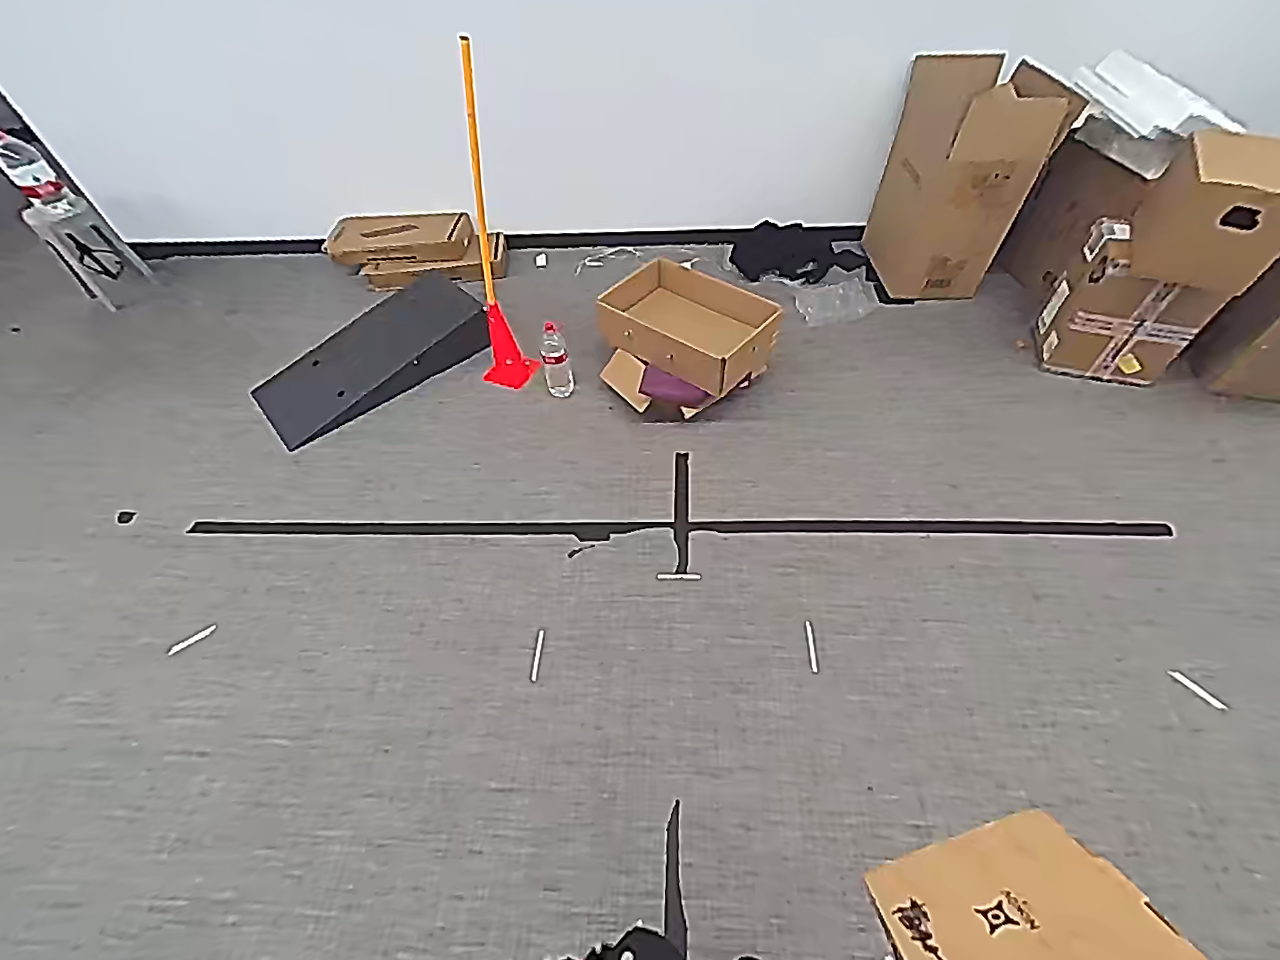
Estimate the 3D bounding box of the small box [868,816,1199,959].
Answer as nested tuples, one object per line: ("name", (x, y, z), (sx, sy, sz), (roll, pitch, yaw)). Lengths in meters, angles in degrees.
("small box", (0.317, 0.418, 0.425), (0.179, 0.168, 0.176), (-21, 90, 3))
